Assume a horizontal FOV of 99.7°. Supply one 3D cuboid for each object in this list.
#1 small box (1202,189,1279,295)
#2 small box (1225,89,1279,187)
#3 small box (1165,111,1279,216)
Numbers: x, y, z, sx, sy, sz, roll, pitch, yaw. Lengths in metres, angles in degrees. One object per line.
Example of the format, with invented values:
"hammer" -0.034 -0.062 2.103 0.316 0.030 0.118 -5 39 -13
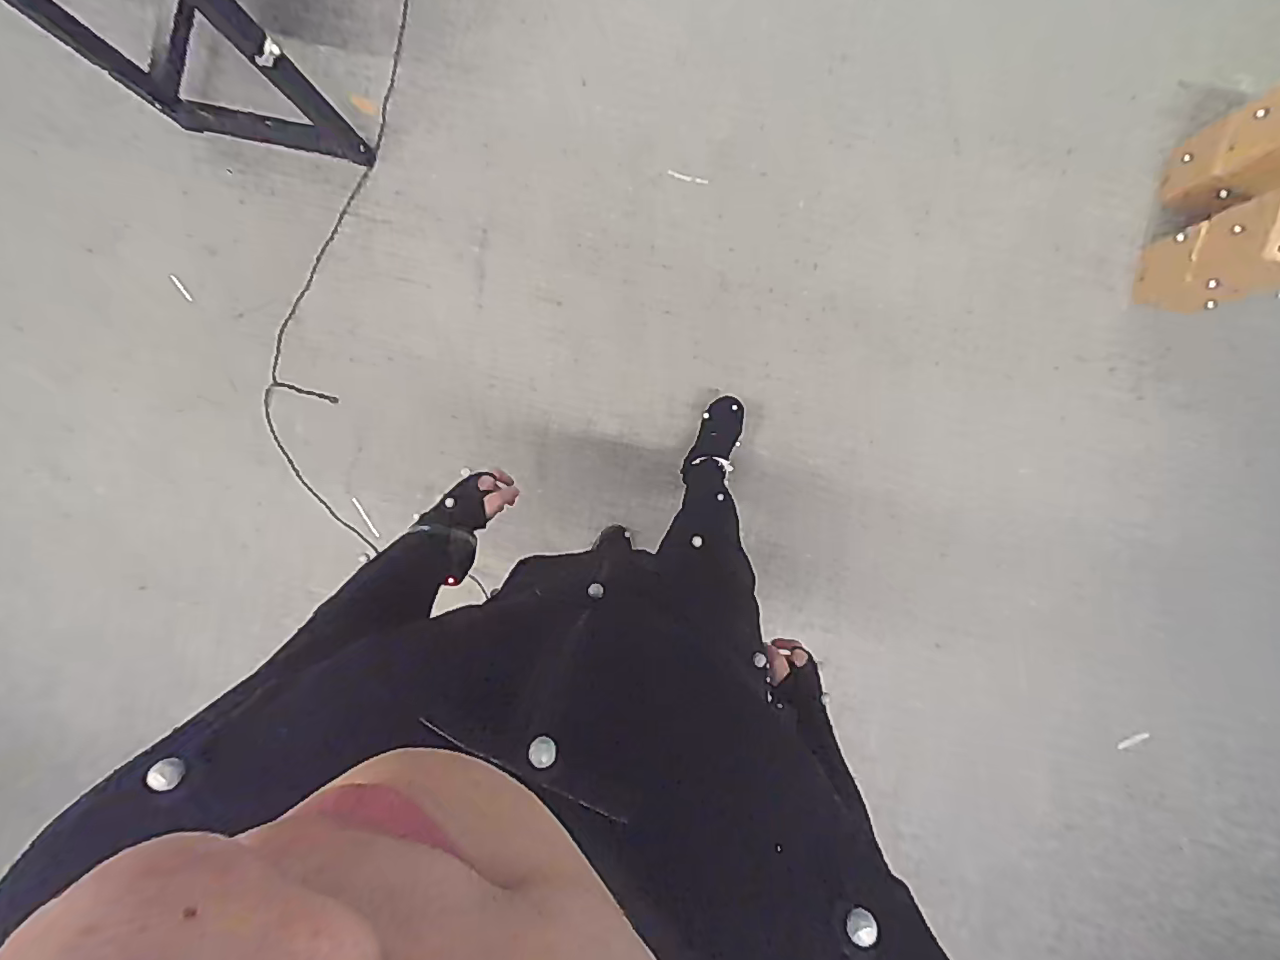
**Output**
"small box" 1.536 -0.571 1.307 0.168 0.176 0.179 17 92 0
"small box" 1.587 -0.837 1.298 0.179 0.176 0.168 13 92 1
"small box" 1.593 -0.845 1.459 0.179 0.176 0.168 16 93 1
